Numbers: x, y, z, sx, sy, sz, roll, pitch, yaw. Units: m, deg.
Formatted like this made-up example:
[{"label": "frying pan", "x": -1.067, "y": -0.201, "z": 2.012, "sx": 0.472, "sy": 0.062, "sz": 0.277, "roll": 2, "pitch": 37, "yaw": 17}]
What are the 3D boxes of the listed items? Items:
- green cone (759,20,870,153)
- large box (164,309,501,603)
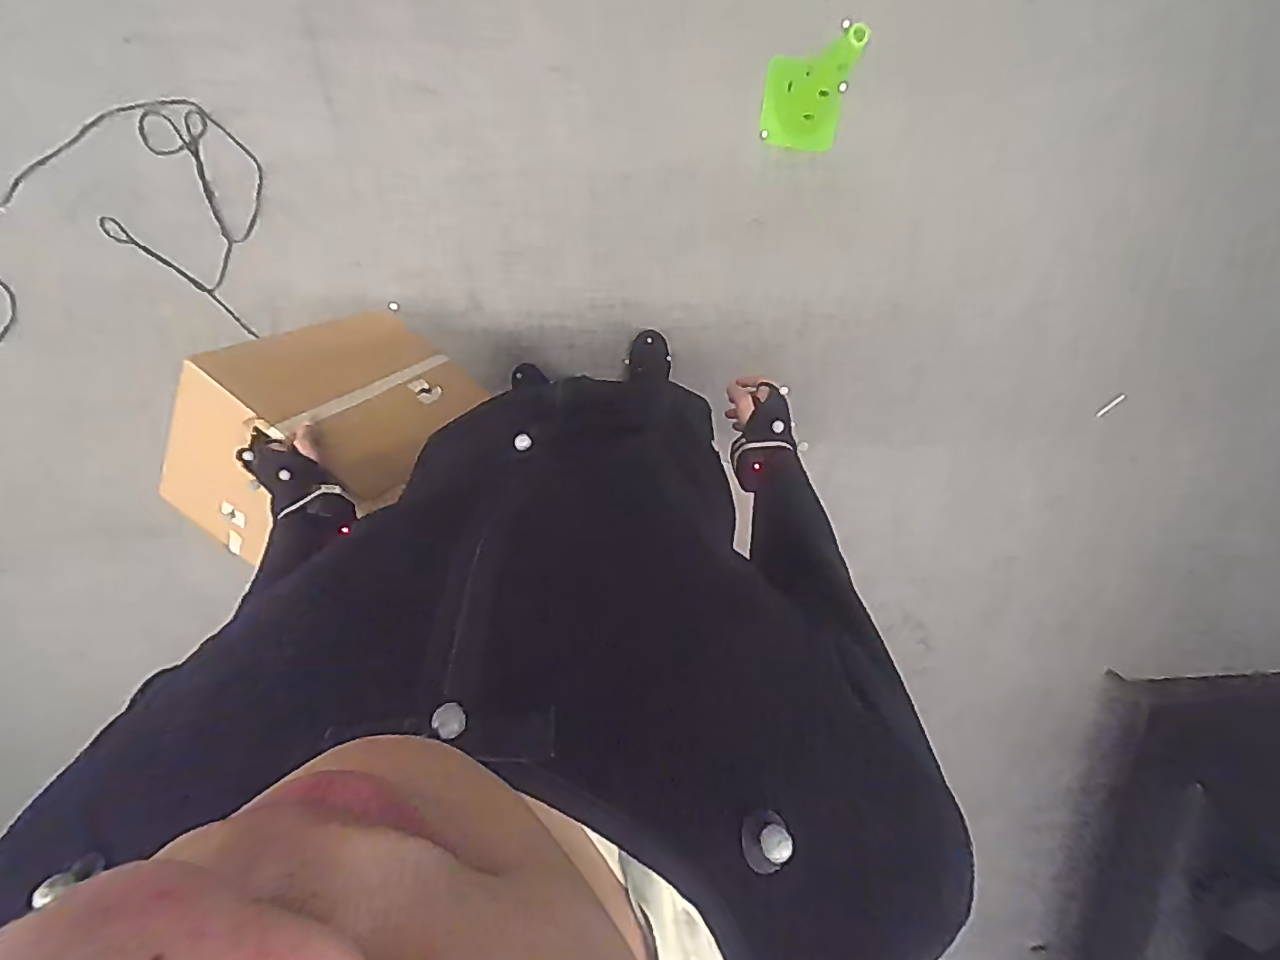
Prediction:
[{"label": "green cone", "x": 0.426, "y": -0.924, "z": 1.236, "sx": 0.200, "sy": 0.368, "sz": 0.202, "roll": 4, "pitch": 104, "yaw": -5}, {"label": "large box", "x": -0.534, "y": -0.060, "z": 0.993, "sx": 0.320, "sy": 0.408, "sz": 0.320, "roll": 40, "pitch": 121, "yaw": -5}]
